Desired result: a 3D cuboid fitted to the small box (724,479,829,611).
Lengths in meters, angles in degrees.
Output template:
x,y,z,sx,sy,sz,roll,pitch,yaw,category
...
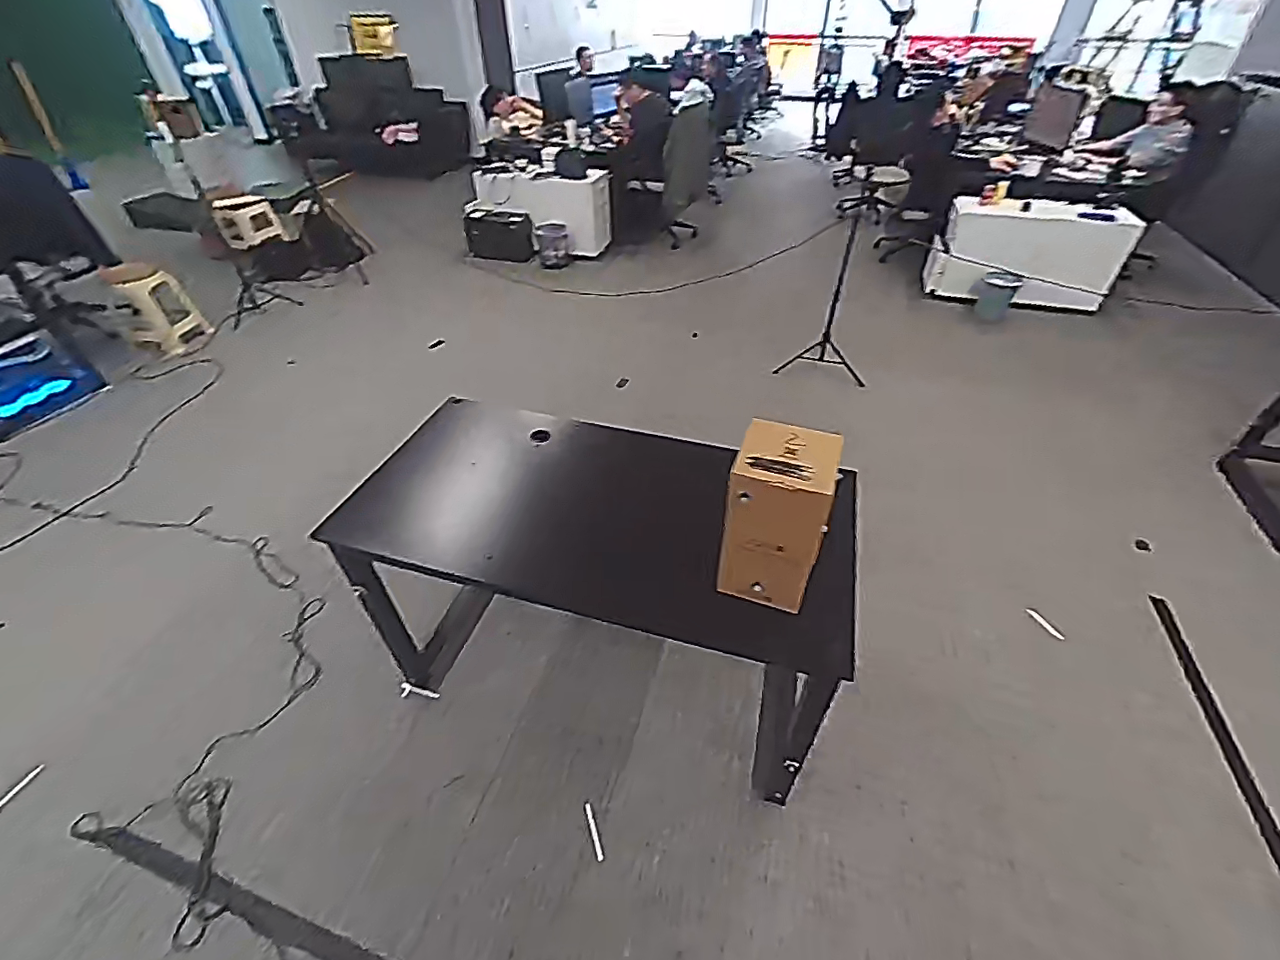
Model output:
x,y,z,sx,sy,sz,roll,pitch,yaw,category
0.273,0.130,1.098,0.168,0.176,0.179,14,44,18,small box
